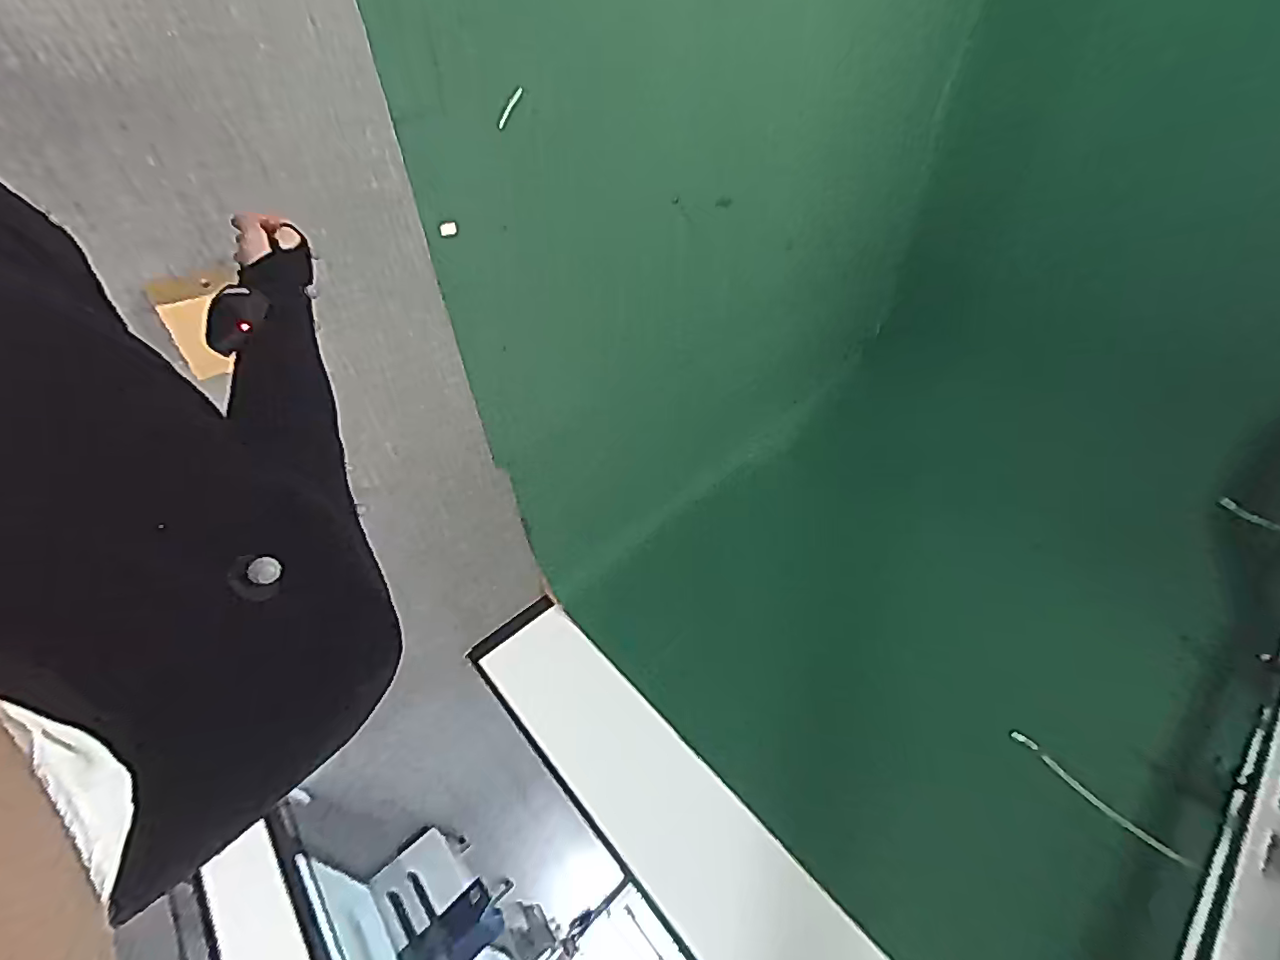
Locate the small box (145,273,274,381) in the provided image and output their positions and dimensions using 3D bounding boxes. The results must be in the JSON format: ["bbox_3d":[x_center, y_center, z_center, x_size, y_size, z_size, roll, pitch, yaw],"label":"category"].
[{"bbox_3d":[-0.989,-0.360,1.243,0.168,0.176,0.179,-30,140,-30],"label":"small box"}]
